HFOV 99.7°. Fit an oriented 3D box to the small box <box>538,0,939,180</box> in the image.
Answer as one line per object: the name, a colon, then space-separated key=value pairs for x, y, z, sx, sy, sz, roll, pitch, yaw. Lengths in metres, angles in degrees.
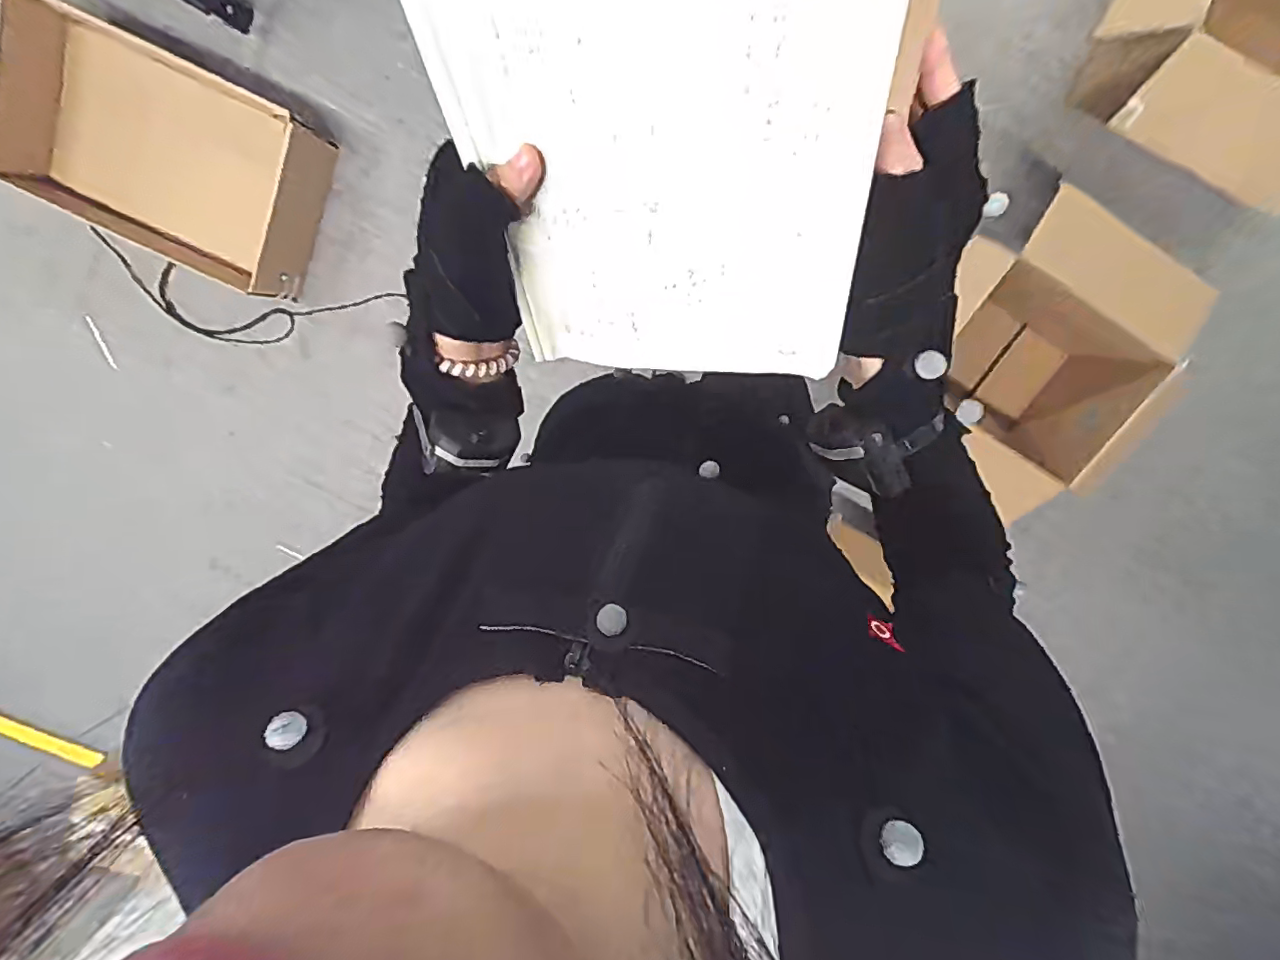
small box: x=0.051 y=-0.269 z=0.288 sx=0.179 sy=0.176 sz=0.168 roll=6 pitch=128 yaw=5
